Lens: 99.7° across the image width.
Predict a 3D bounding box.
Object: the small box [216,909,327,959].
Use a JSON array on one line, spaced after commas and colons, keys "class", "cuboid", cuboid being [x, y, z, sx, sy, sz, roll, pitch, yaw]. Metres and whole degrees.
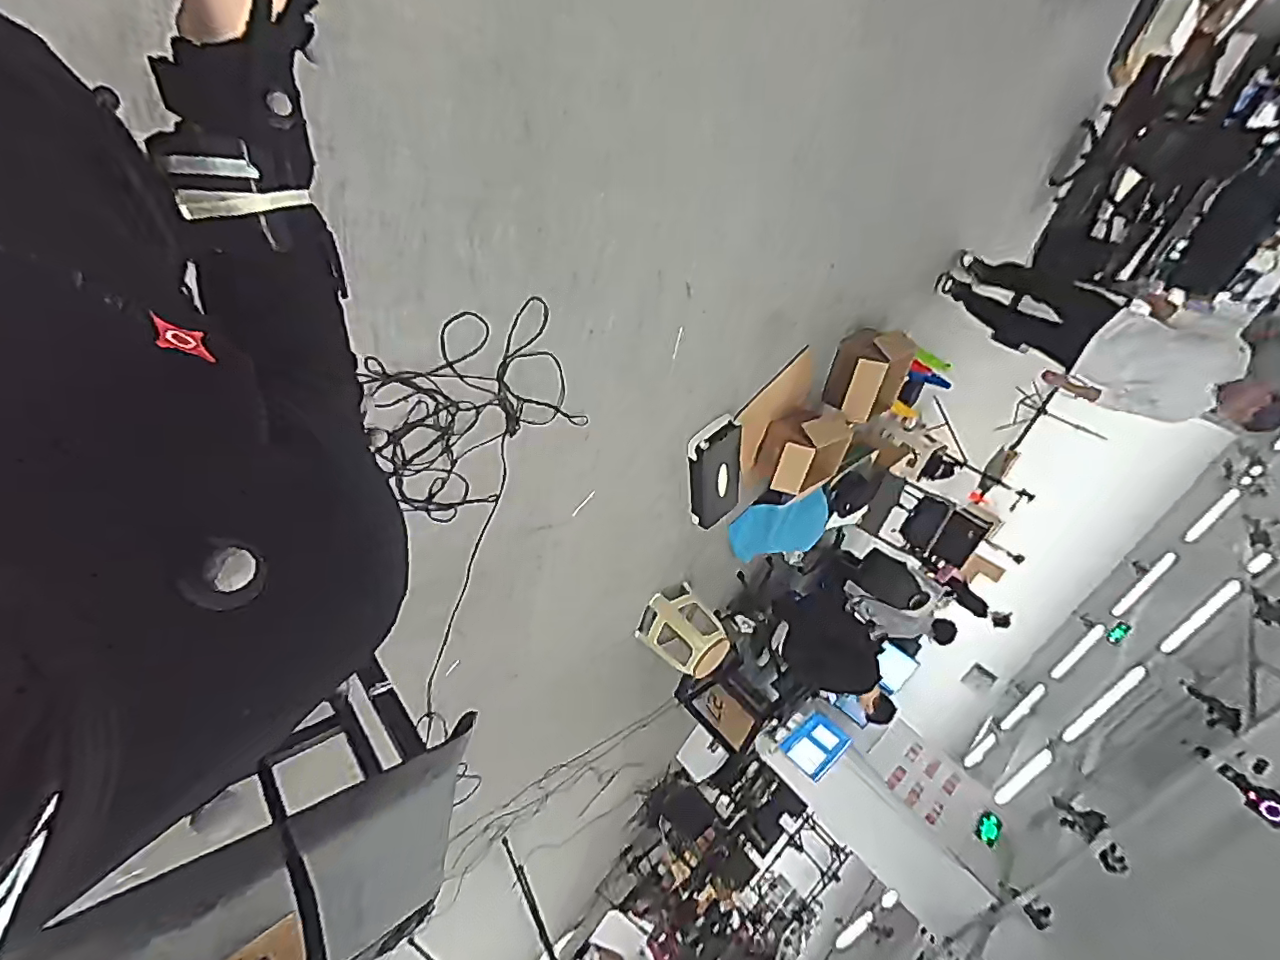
[{"class": "small box", "cuboid": [-0.736, 1.022, 1.091, 0.168, 0.176, 0.179, -24, 139, -36]}]
